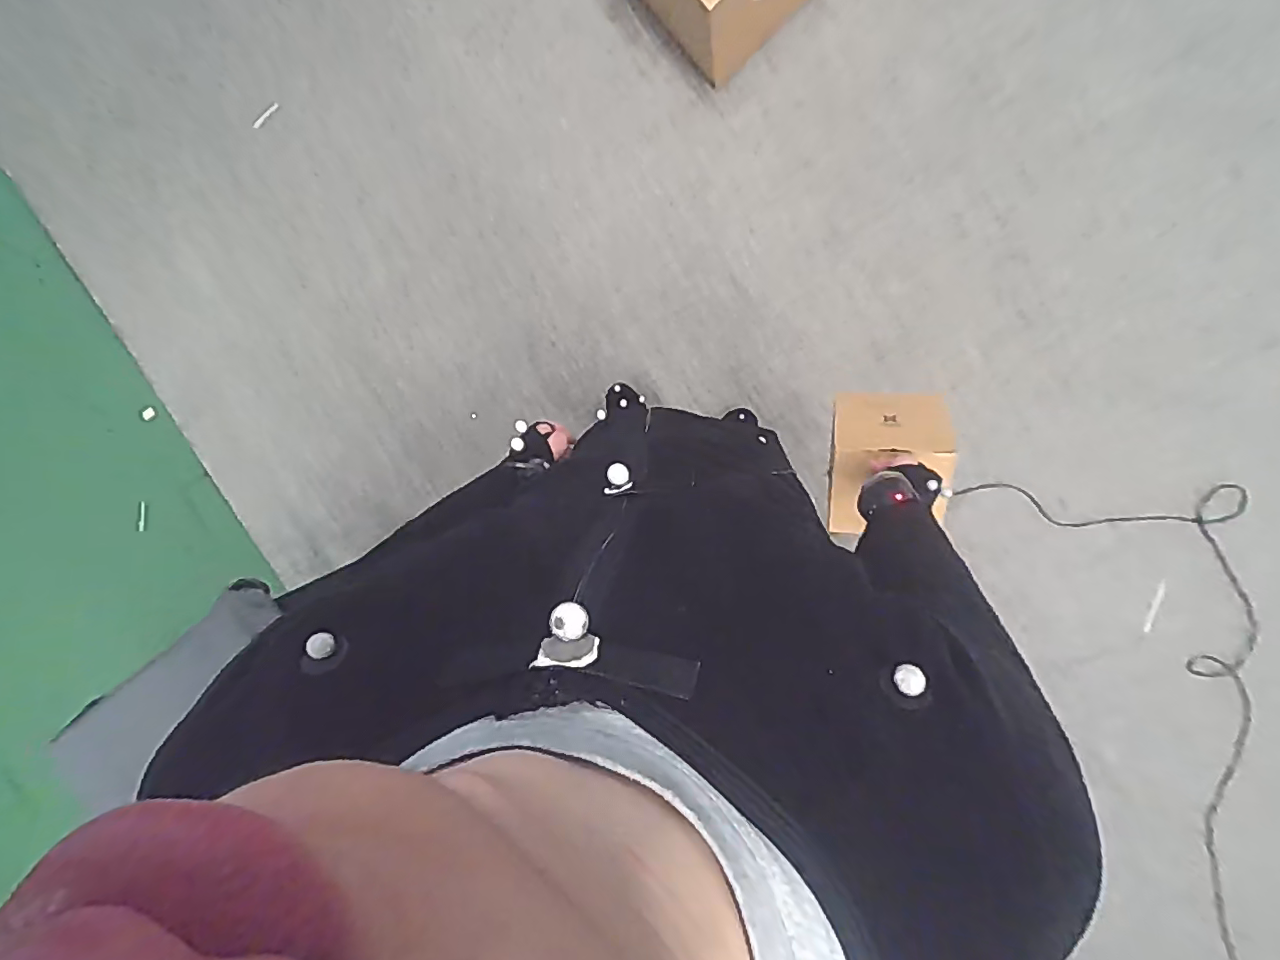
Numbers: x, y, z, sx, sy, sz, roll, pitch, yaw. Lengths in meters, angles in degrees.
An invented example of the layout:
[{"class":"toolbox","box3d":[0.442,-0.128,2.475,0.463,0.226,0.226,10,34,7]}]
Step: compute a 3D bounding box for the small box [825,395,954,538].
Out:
[{"class":"small box","box3d":[0.400,-0.025,0.889,0.168,0.179,0.176,5,128,18]}]
